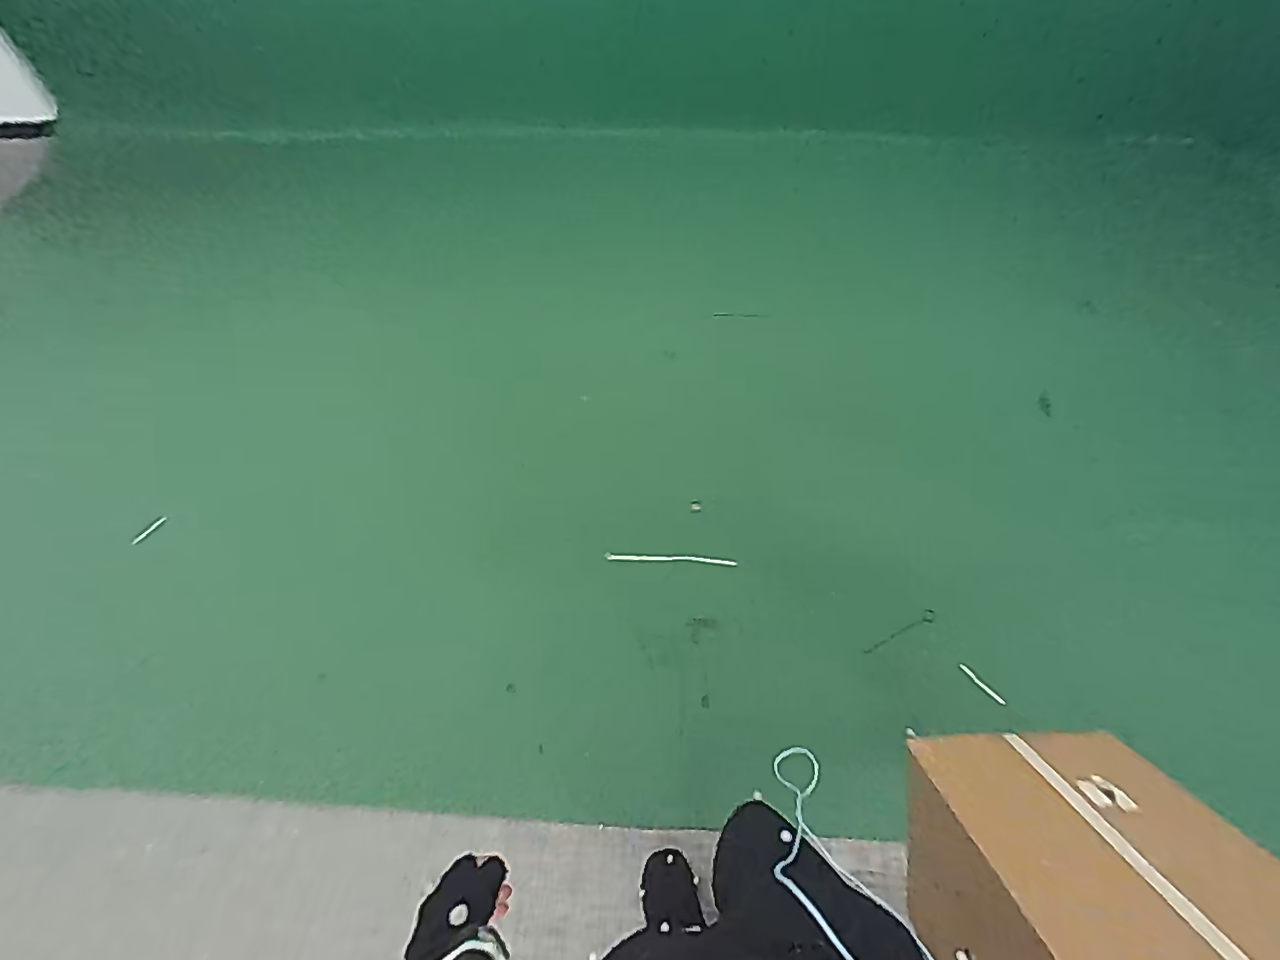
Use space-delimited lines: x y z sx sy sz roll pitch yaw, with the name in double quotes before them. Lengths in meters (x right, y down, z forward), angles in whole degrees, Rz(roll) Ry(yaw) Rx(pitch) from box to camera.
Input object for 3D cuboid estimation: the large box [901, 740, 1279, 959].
"large box" 0.574 0.595 0.682 0.320 0.408 0.320 -3 97 4
